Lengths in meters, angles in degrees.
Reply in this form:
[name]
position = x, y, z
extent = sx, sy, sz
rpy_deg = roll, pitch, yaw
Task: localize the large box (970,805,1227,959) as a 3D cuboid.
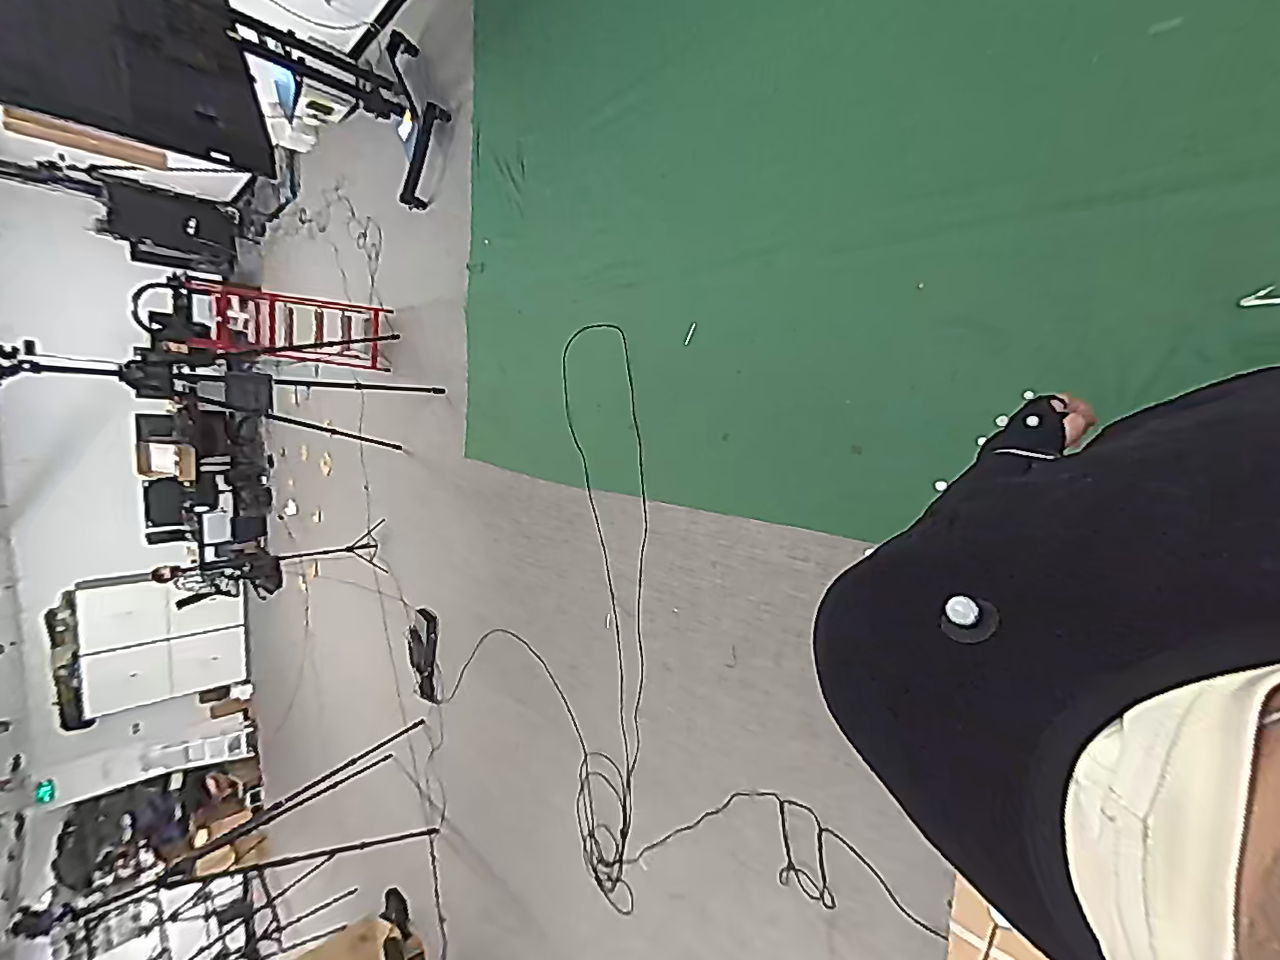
[large box]
position = 1.017, 1.038, 1.227
extent = 0.408, 0.320, 0.320
rpy_deg = 7, 98, 43
